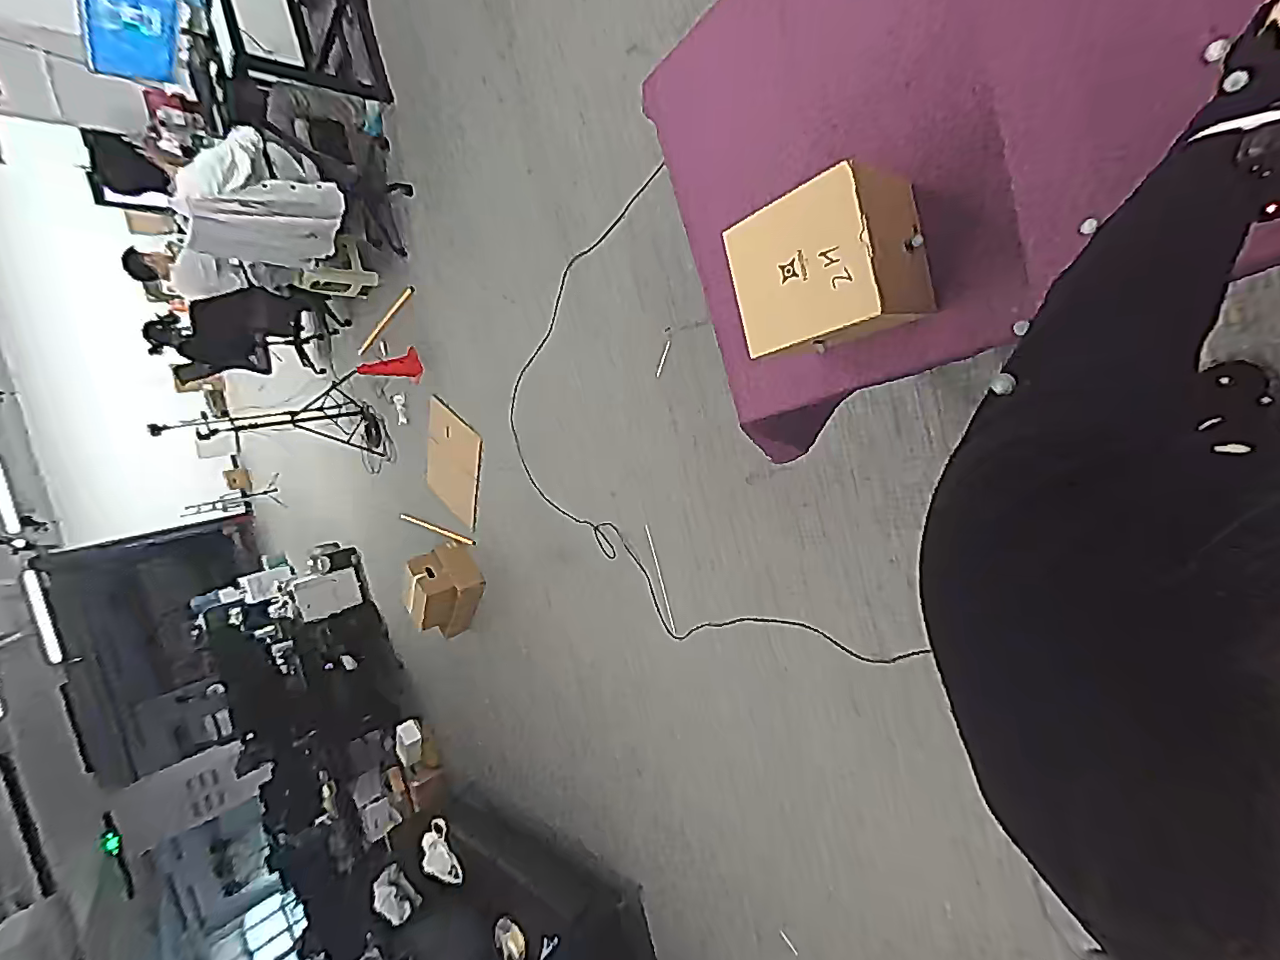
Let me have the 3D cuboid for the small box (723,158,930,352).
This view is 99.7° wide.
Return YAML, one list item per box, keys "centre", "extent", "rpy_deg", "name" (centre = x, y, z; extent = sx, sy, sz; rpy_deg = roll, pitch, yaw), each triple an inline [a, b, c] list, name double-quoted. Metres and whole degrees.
- centre: [0.237, -0.268, 0.688]
  extent: [0.179, 0.176, 0.168]
  rpy_deg: [-9, 96, 48]
  name: "small box"
